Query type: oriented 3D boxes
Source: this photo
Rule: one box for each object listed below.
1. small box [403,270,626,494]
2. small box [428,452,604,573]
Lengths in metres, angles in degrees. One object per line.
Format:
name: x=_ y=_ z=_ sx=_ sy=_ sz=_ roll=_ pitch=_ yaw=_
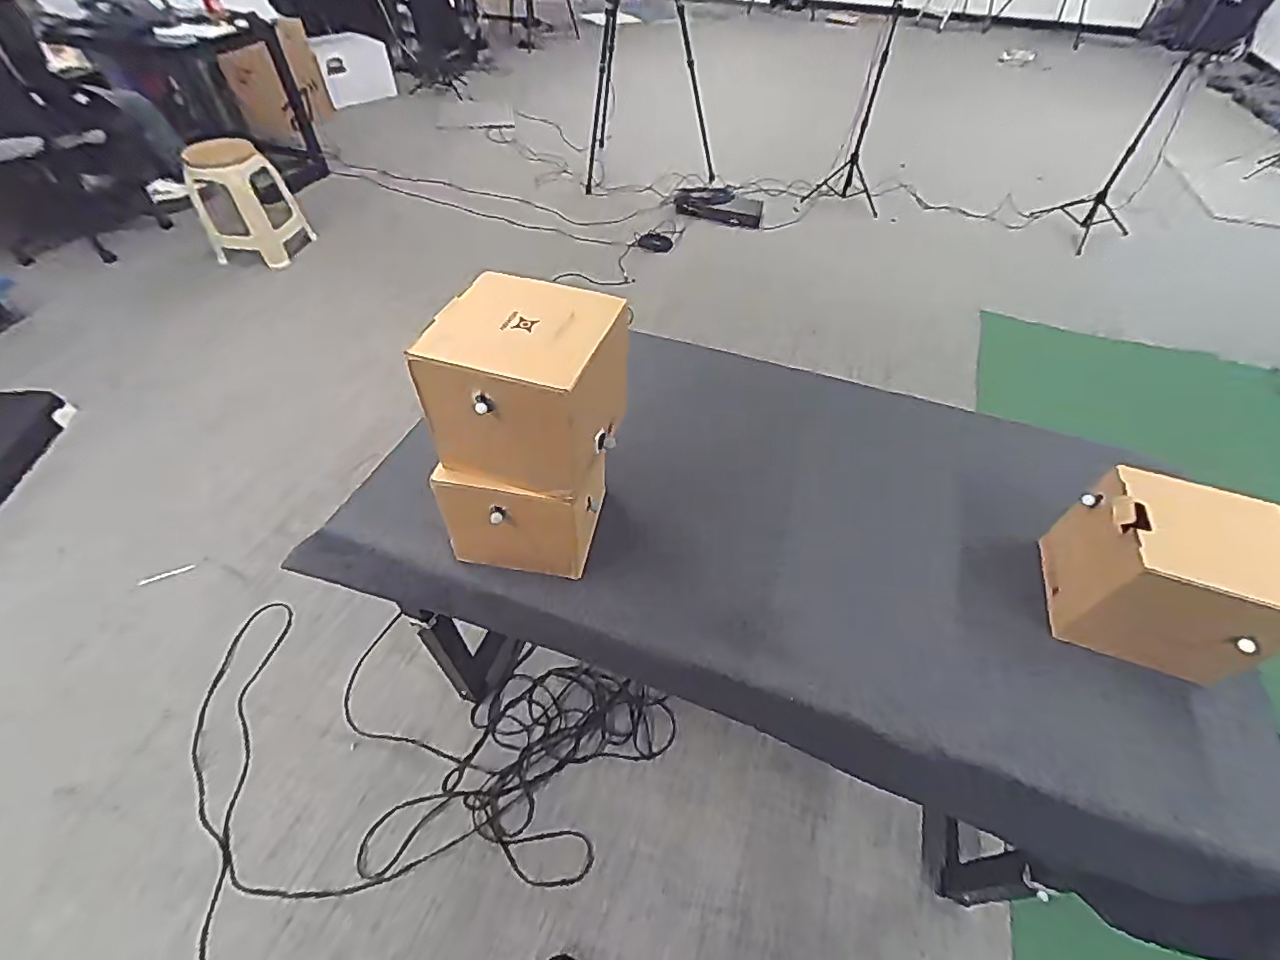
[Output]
small box: x=-0.124 y=-0.107 z=0.608 sx=0.179 sy=0.176 sz=0.168 roll=15 pitch=51 yaw=10
small box: x=-0.148 y=0.006 z=0.724 sx=0.179 sy=0.176 sz=0.168 roll=9 pitch=49 yaw=5
